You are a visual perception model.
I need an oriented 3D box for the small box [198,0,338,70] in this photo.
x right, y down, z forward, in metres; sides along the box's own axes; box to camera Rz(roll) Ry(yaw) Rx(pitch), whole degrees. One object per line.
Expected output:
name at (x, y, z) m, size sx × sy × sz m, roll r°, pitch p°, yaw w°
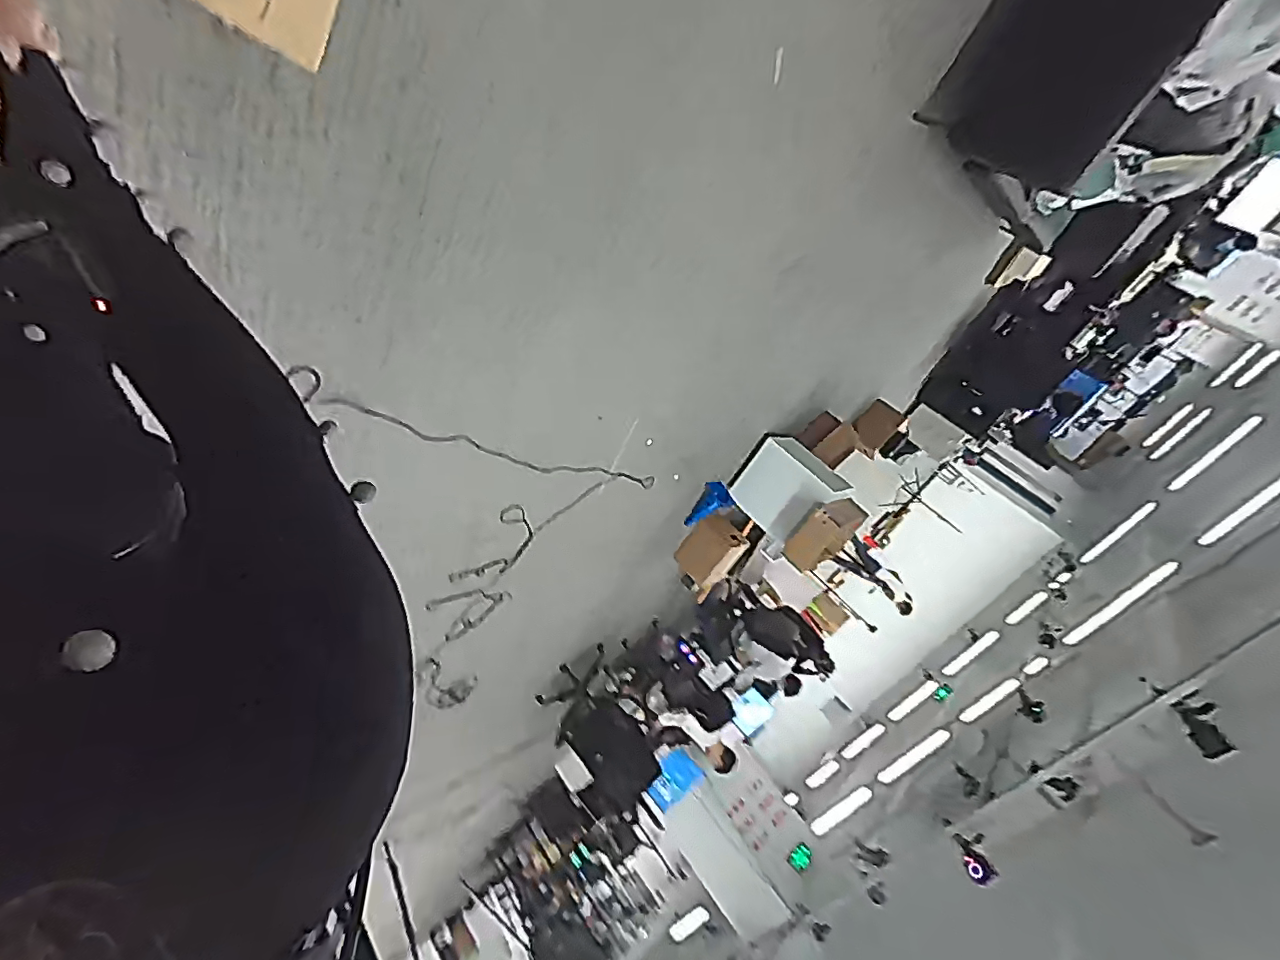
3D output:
small box at (-0.556, -0.754, 0.777) m, size 0.168 × 0.176 × 0.179 m, roll 2°, pitch 129°, yaw -56°
